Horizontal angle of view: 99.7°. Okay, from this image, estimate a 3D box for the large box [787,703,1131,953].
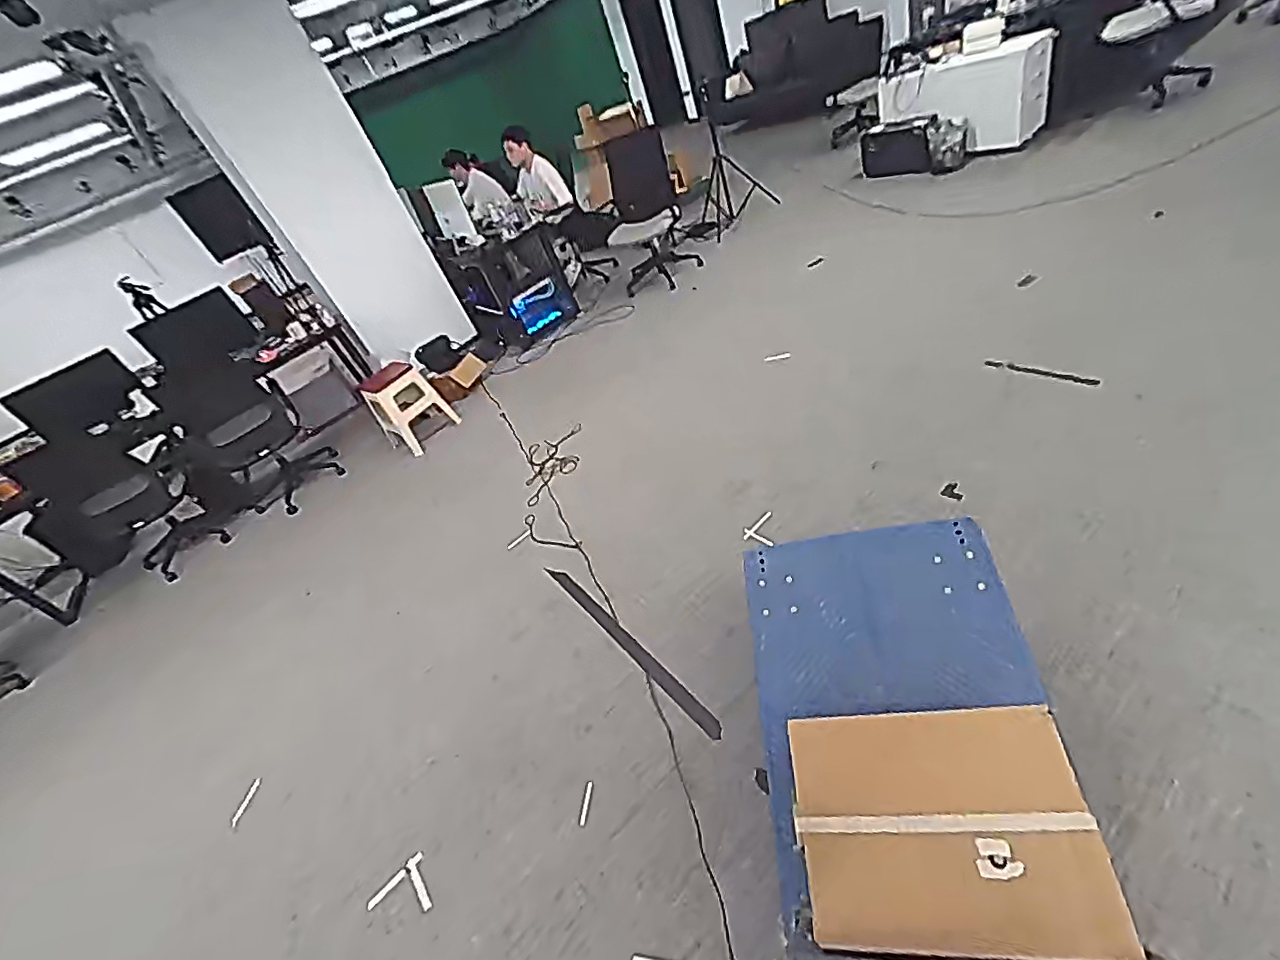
[{"bbox_3d":[0.499,0.603,0.951,0.408,0.320,0.320,-11,55,16],"label":"large box"}]
